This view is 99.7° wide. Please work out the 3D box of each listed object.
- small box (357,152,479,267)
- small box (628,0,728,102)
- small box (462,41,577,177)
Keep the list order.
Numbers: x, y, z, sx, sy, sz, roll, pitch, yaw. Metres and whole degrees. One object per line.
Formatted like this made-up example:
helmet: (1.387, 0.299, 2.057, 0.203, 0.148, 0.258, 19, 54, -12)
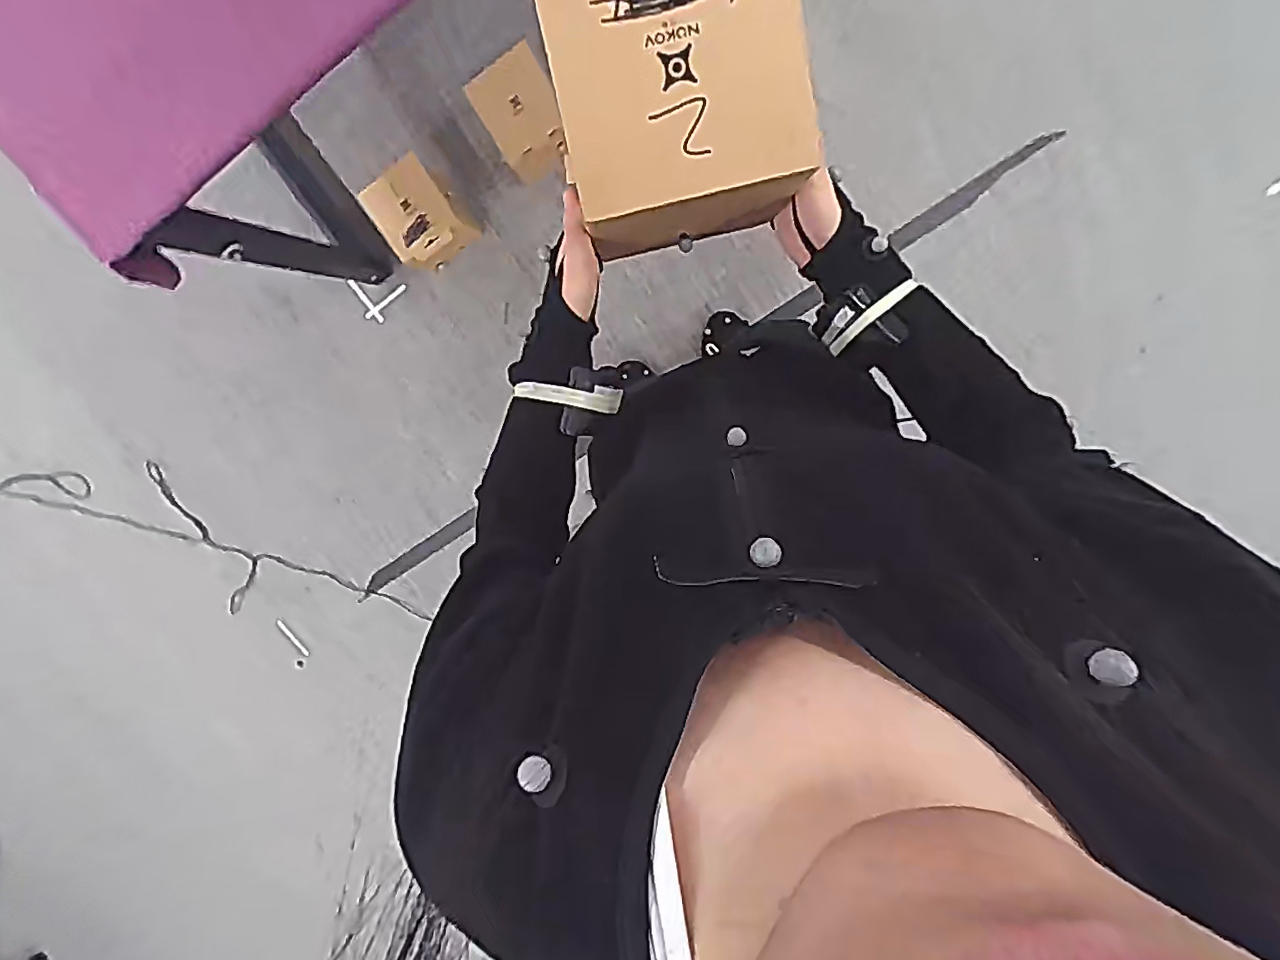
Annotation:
small box: (-0.515, -0.627, 1.285, 0.168, 0.176, 0.179, -32, 101, 10)
small box: (0.079, -0.963, 1.172, 0.179, 0.176, 0.168, -16, 105, 8)
small box: (-0.261, -0.820, 1.224, 0.168, 0.176, 0.179, -32, 101, 9)
